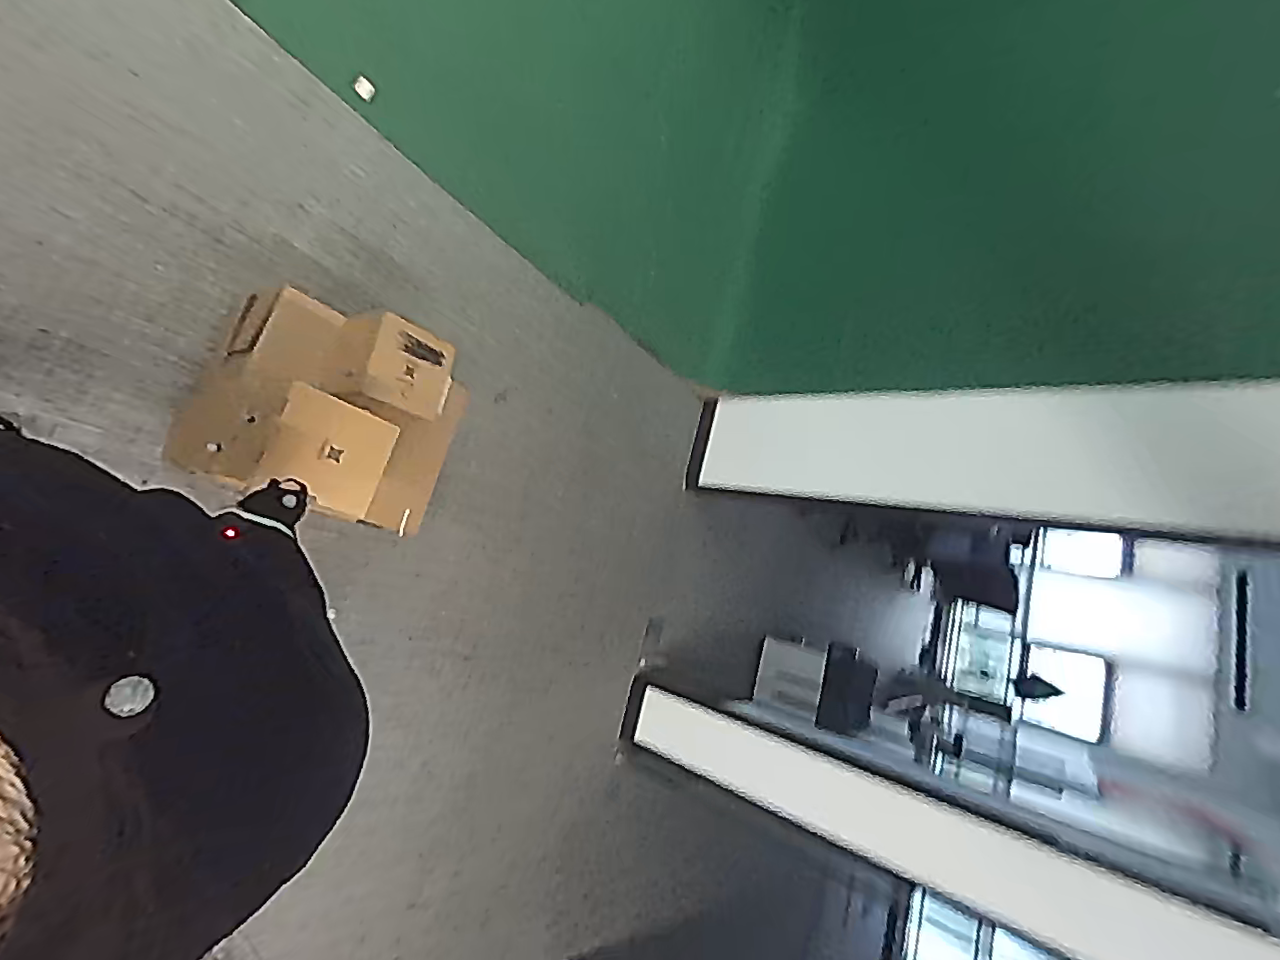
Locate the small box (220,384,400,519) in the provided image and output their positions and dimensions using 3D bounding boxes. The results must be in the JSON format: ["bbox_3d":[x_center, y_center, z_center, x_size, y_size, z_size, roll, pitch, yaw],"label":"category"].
[{"bbox_3d":[-0.544,-0.050,0.894,0.179,0.176,0.168,32,72,-48],"label":"small box"}]

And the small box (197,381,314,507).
[{"bbox_3d":[-0.673,-0.067,0.993,0.168,0.176,0.179,32,72,-49],"label":"small box"}]
